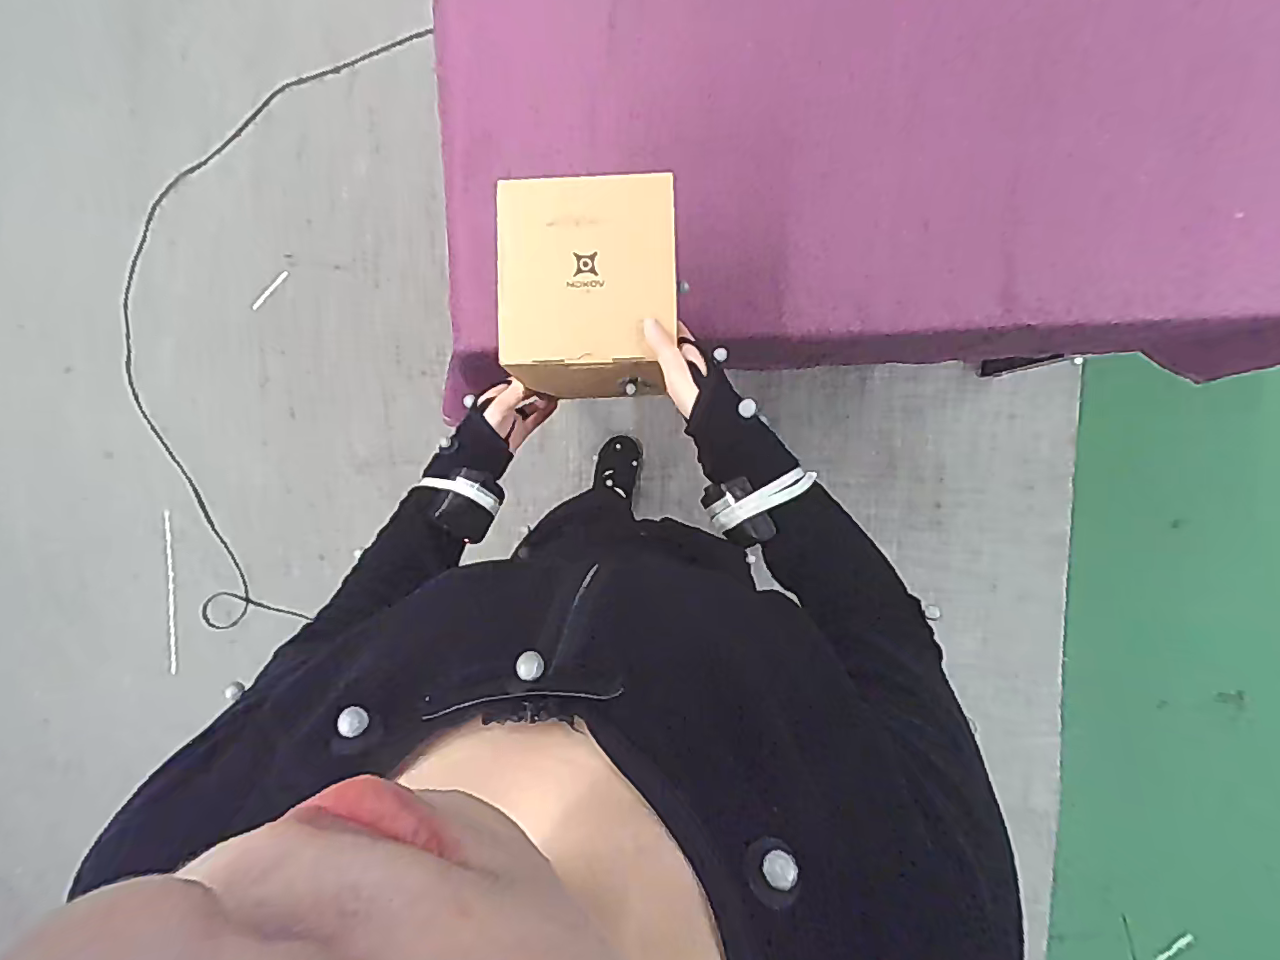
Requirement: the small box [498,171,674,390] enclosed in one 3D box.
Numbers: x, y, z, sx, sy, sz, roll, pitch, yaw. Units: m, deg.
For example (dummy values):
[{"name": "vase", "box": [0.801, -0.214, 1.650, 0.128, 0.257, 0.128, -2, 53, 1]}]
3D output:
[{"name": "small box", "box": [-0.047, -0.196, 0.580, 0.168, 0.176, 0.179, -1, 87, 1]}]
